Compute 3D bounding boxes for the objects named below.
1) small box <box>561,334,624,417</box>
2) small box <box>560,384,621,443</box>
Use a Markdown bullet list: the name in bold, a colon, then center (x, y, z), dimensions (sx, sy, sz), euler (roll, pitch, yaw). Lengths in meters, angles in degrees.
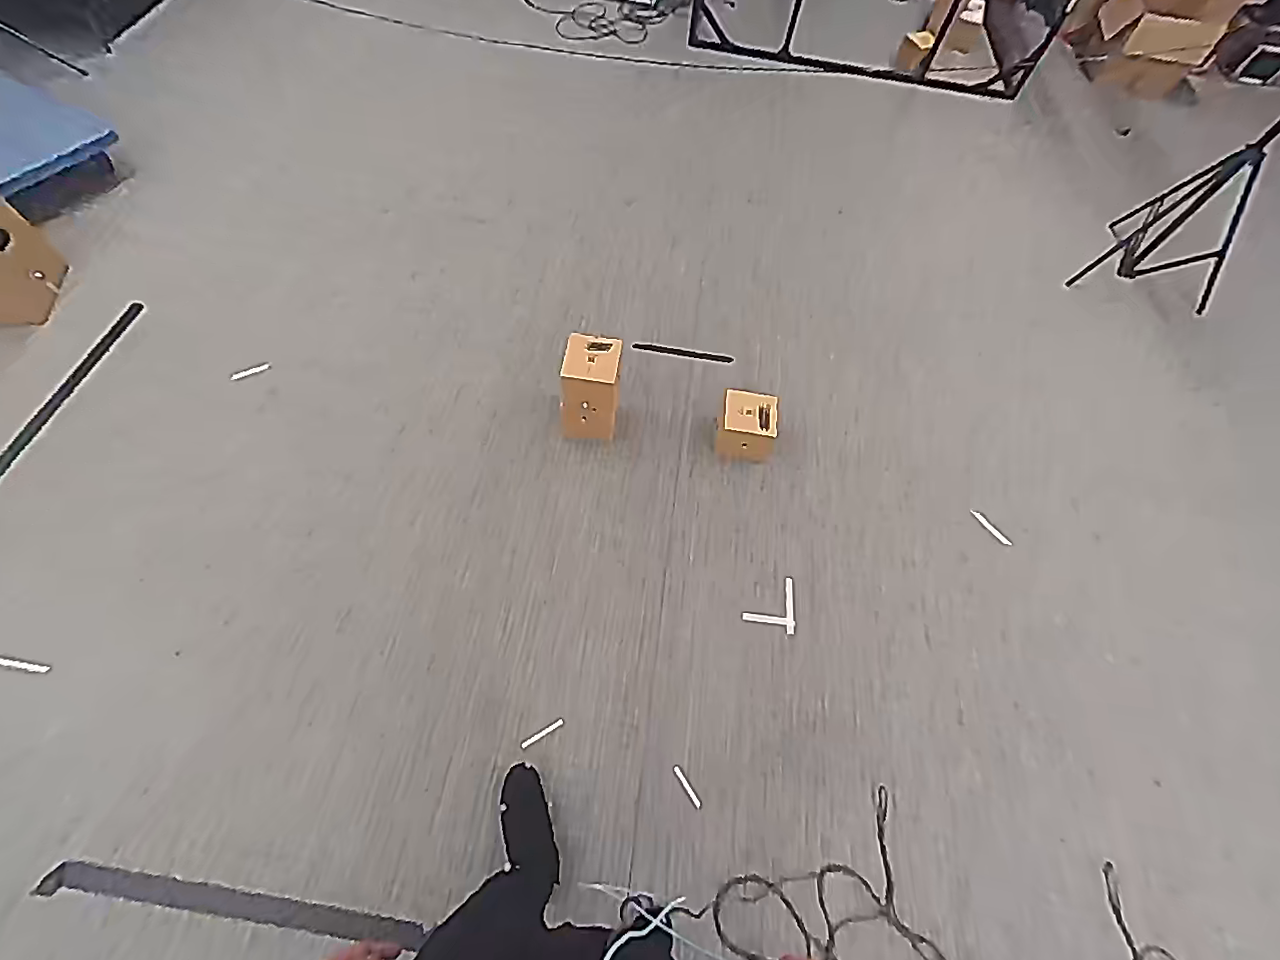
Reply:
- **small box**: center (-0.147, -0.324, 1.696), dimensions (0.168, 0.176, 0.179), euler (9, 62, 0)
- **small box**: center (-0.165, -0.244, 1.838), dimensions (0.179, 0.176, 0.168), euler (8, 61, 0)
